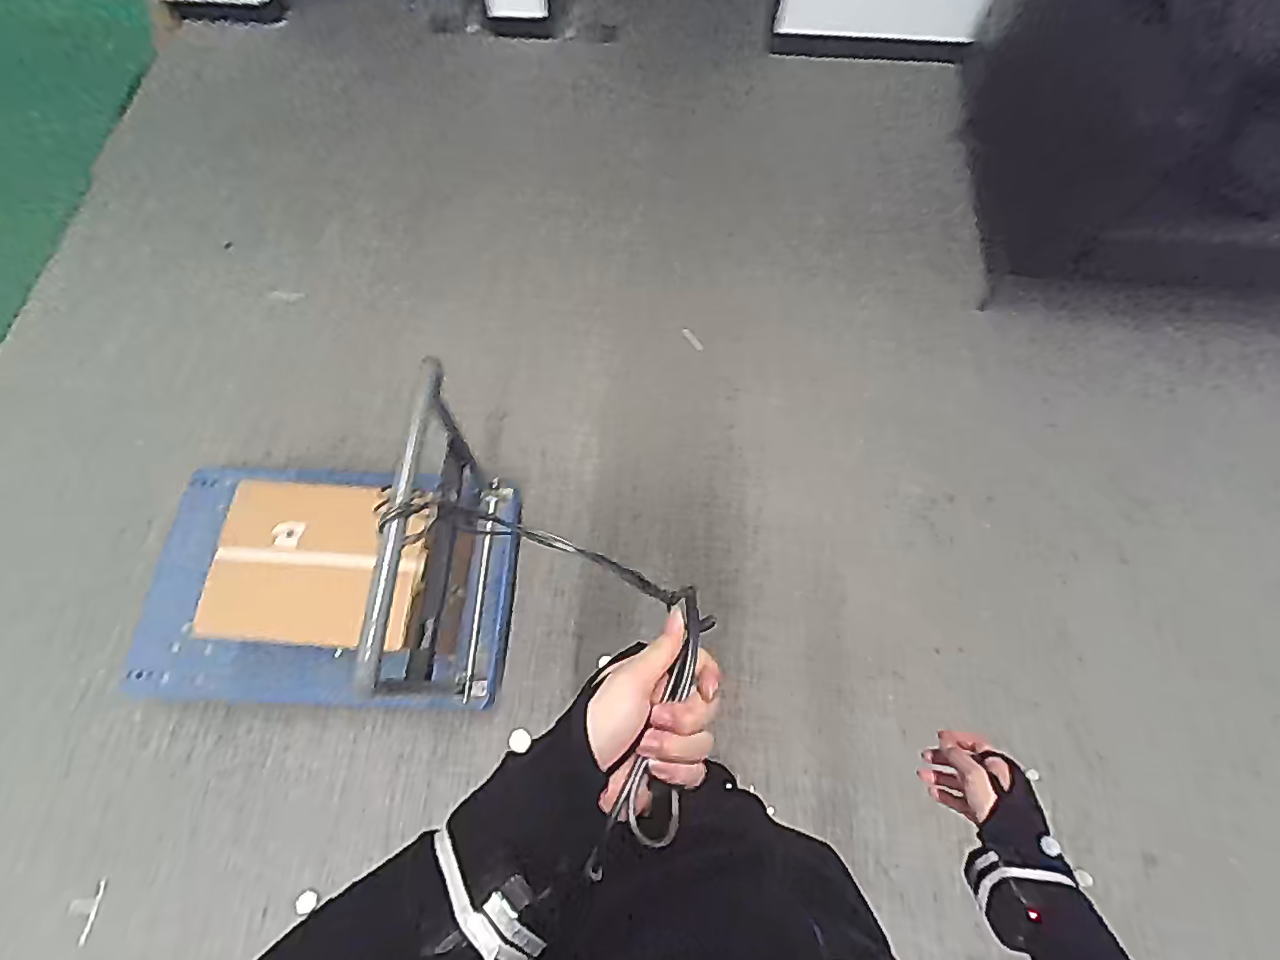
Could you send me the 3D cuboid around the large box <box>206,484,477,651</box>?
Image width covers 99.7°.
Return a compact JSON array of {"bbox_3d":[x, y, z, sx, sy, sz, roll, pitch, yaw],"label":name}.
[{"bbox_3d":[-0.625,0.212,1.221,0.408,0.320,0.320,4,69,1],"label":"large box"}]
